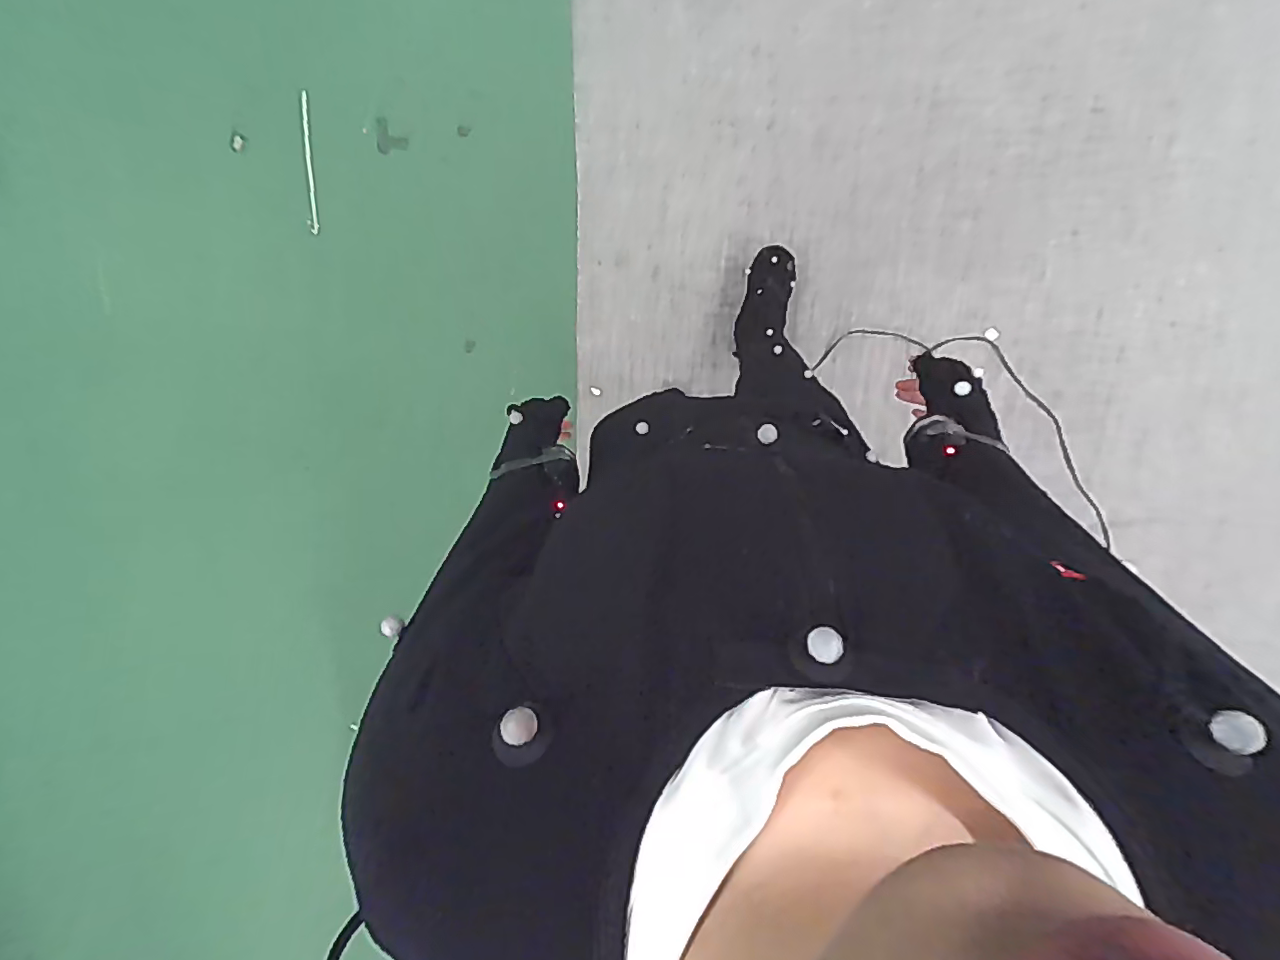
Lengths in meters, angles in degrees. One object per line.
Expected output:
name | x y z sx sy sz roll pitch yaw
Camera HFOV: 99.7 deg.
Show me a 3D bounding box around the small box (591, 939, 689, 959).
small box | -0.002 0.876 0.857 0.168 0.176 0.179 -1 106 5
